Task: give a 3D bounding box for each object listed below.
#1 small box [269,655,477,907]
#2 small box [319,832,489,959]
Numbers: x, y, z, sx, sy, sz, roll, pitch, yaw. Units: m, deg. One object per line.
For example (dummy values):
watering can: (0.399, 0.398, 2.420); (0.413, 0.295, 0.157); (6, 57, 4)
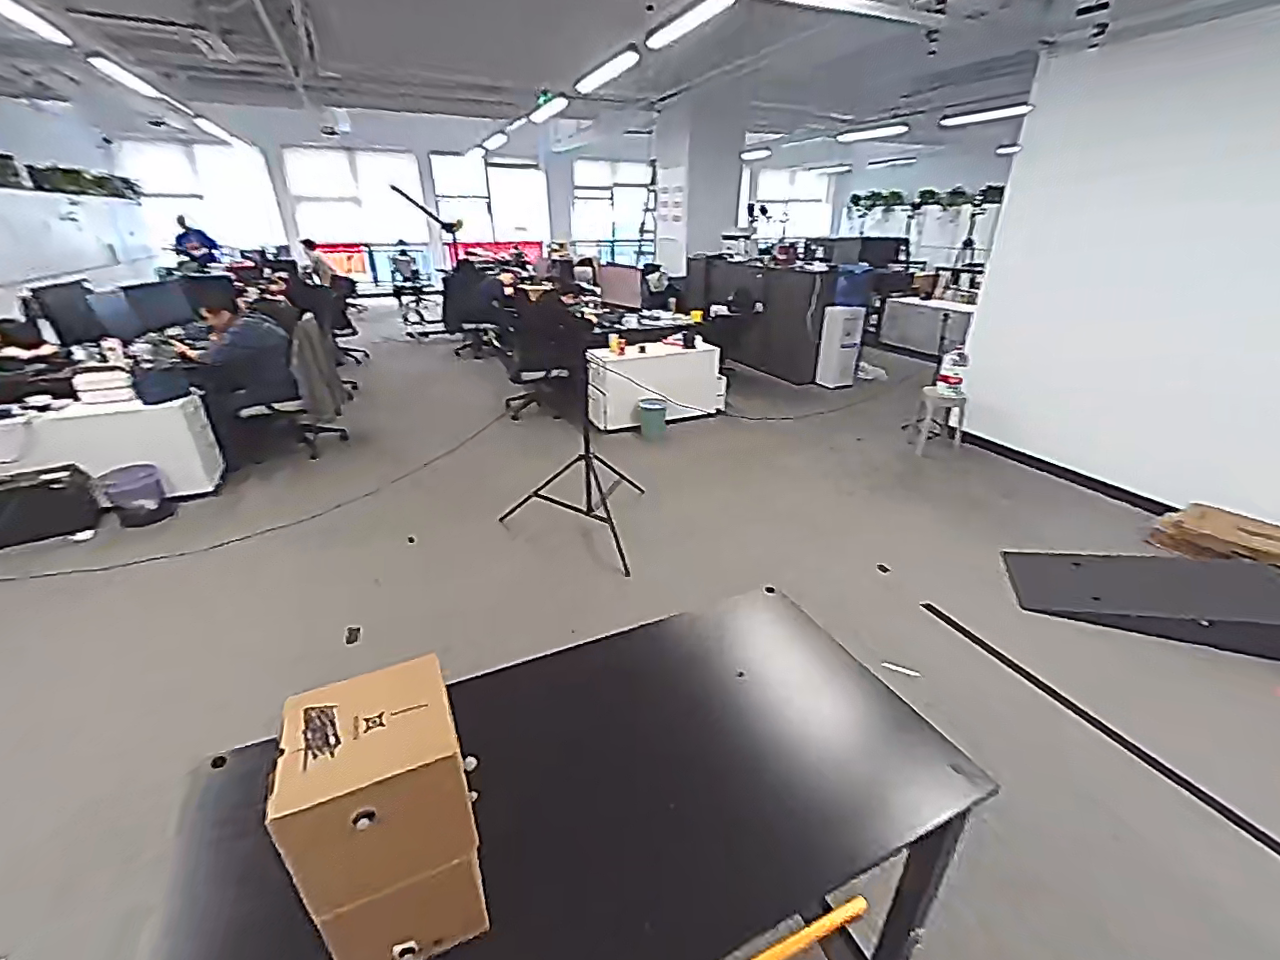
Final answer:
small box: (-0.305, 0.348, 0.642); (0.179, 0.176, 0.168); (-12, 28, -23)
small box: (-0.305, 0.496, 0.714); (0.168, 0.176, 0.179); (-12, 29, -22)
